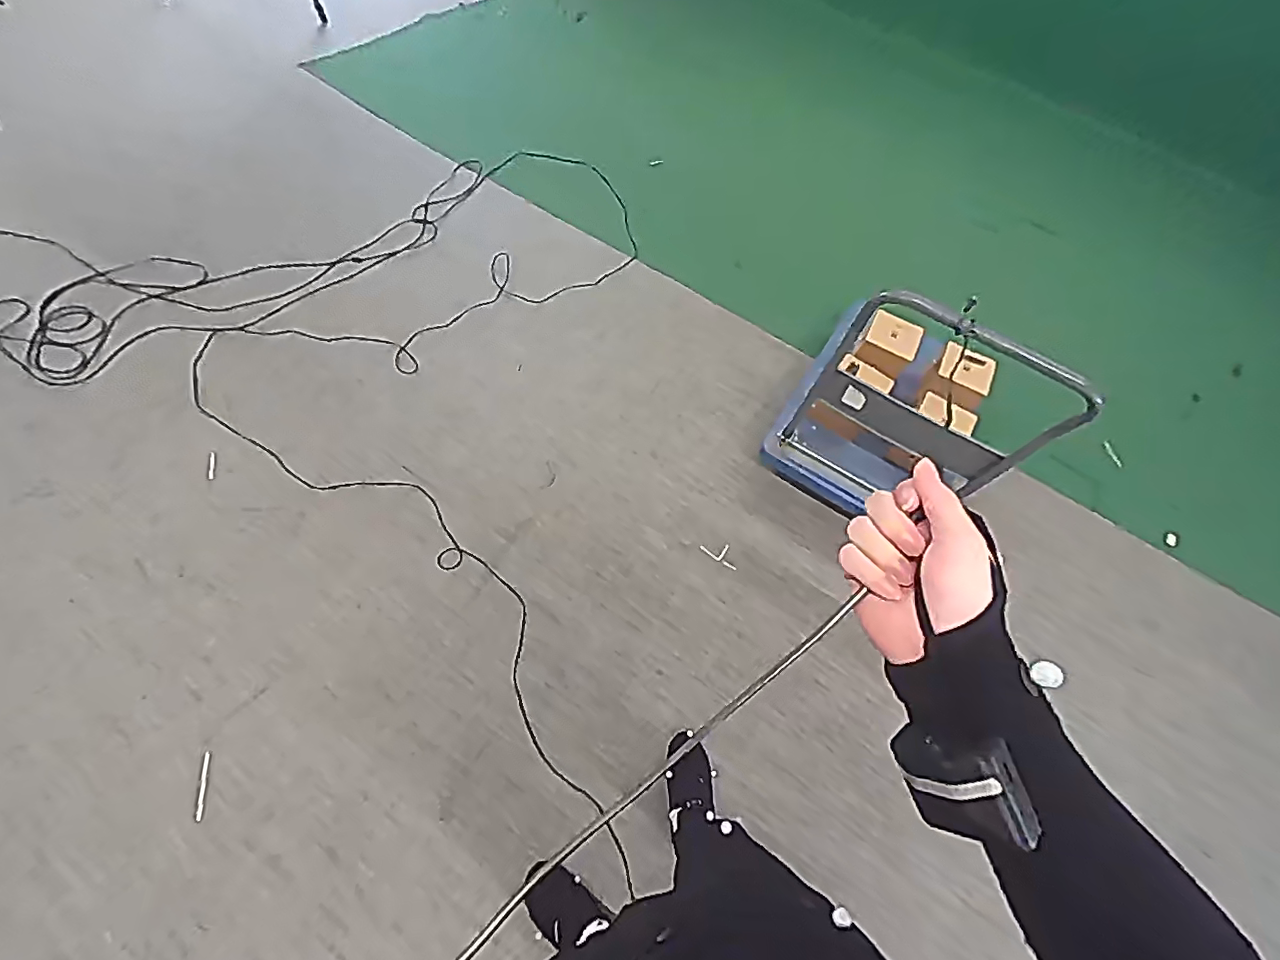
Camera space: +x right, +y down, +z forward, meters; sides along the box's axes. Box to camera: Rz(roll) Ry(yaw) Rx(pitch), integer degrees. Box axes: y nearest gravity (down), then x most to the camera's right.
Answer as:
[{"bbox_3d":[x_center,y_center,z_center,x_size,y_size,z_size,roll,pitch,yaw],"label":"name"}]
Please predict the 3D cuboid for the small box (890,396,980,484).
[{"bbox_3d":[0.917,-0.122,1.693,0.168,0.176,0.179,32,62,12],"label":"small box"}]

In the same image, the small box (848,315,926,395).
[{"bbox_3d":[0.843,-0.426,1.861,0.168,0.176,0.179,29,60,9],"label":"small box"}]

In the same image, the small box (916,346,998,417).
[{"bbox_3d":[1.062,-0.310,1.821,0.168,0.176,0.179,28,61,10],"label":"small box"}]
